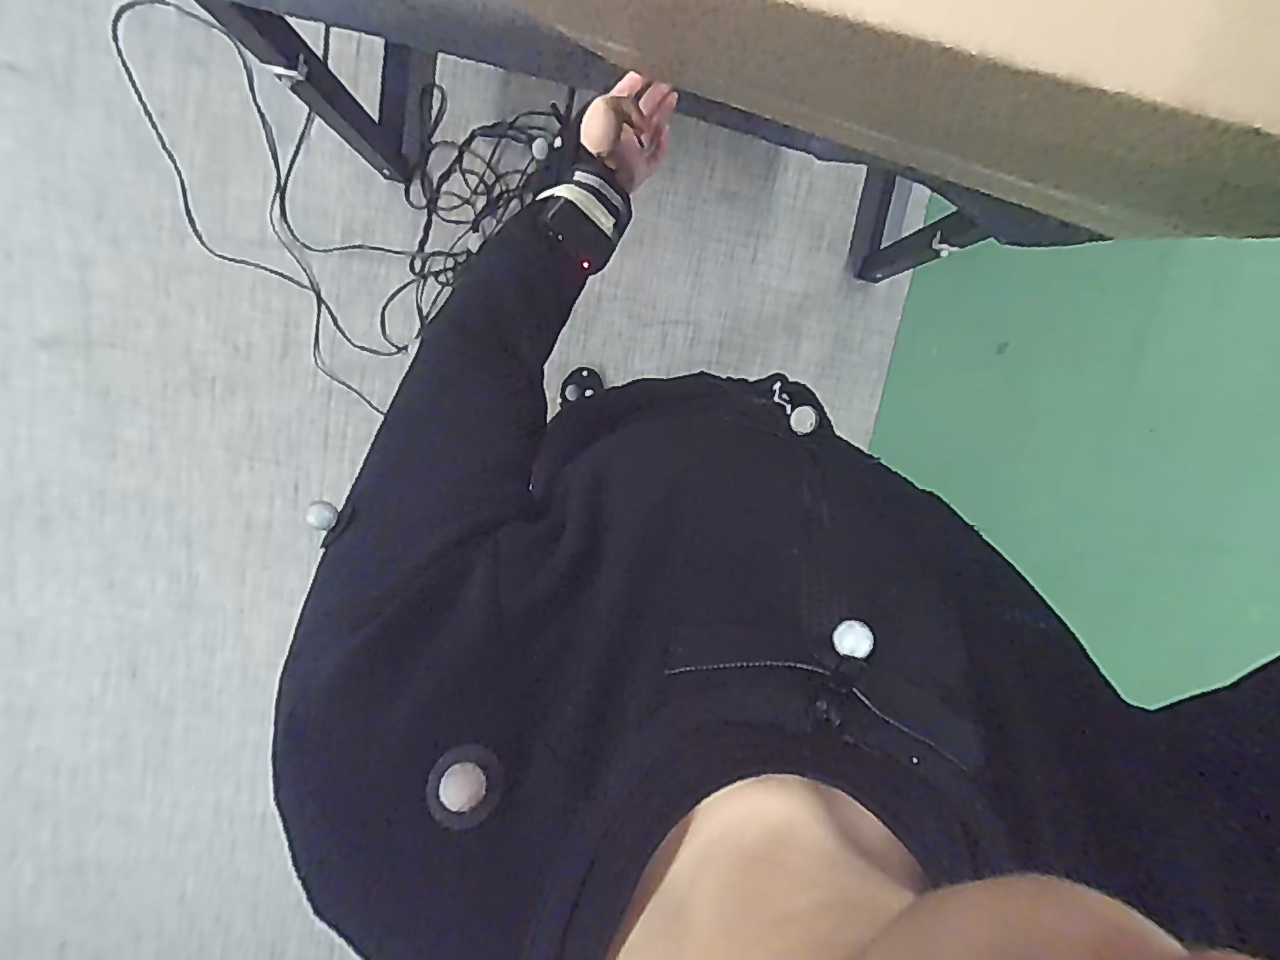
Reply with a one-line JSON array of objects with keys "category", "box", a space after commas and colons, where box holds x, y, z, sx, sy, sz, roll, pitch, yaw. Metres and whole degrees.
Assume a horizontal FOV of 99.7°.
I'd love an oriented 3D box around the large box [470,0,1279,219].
[{"category": "large box", "box": [0.150, -0.338, 0.238, 0.408, 0.320, 0.320, 27, 121, 14]}]
